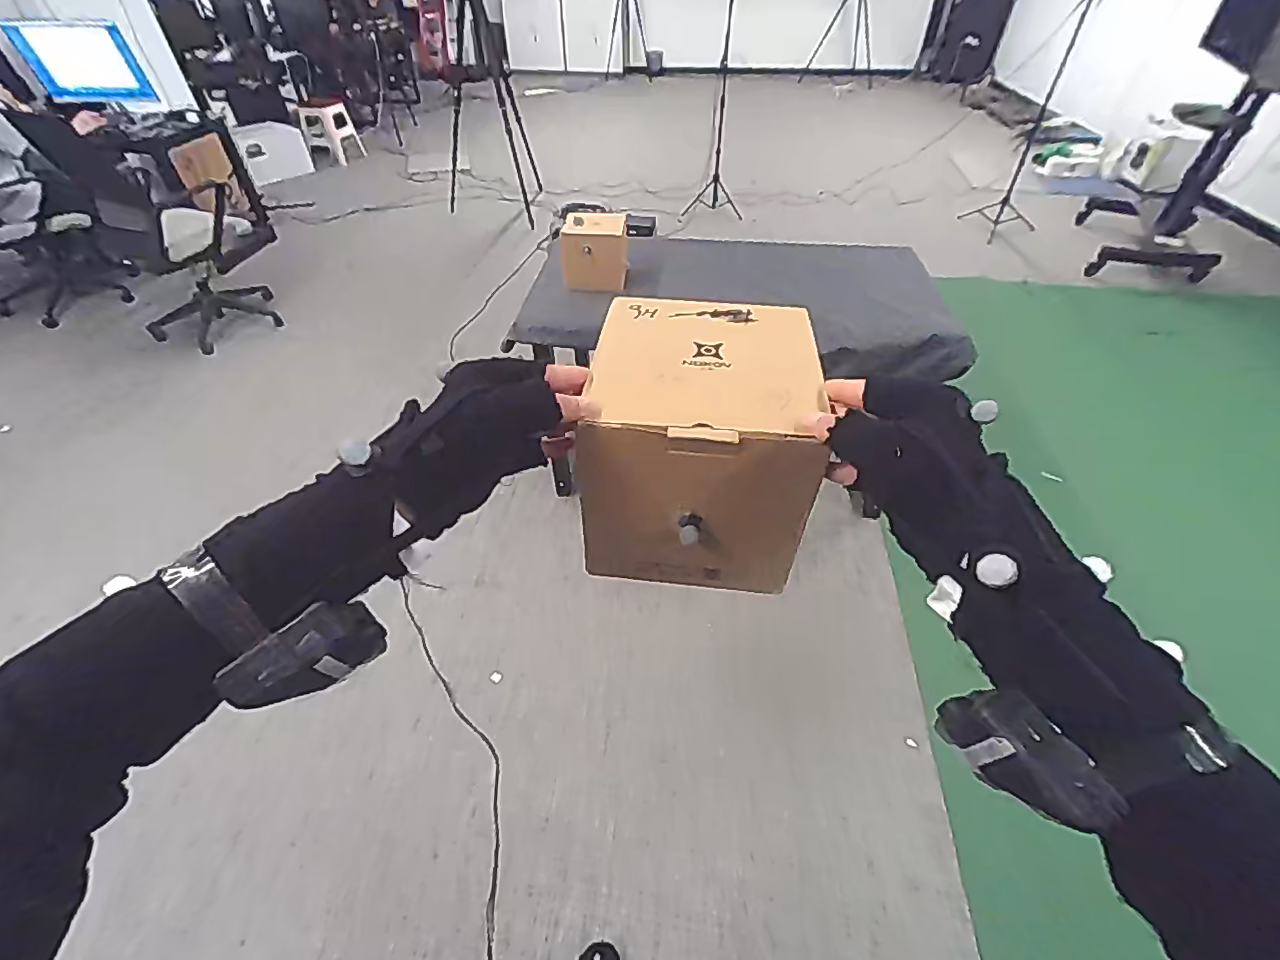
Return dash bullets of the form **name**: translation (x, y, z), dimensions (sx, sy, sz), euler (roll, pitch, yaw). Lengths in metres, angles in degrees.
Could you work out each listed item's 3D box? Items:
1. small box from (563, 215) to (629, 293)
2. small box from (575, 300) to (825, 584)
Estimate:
- **small box**: translation (-0.125, -0.676, 1.619), dimensions (0.179, 0.176, 0.168), euler (3, 45, 2)
- **small box**: translation (0.048, -0.031, 0.461), dimensions (0.168, 0.176, 0.179), euler (6, 46, 4)
